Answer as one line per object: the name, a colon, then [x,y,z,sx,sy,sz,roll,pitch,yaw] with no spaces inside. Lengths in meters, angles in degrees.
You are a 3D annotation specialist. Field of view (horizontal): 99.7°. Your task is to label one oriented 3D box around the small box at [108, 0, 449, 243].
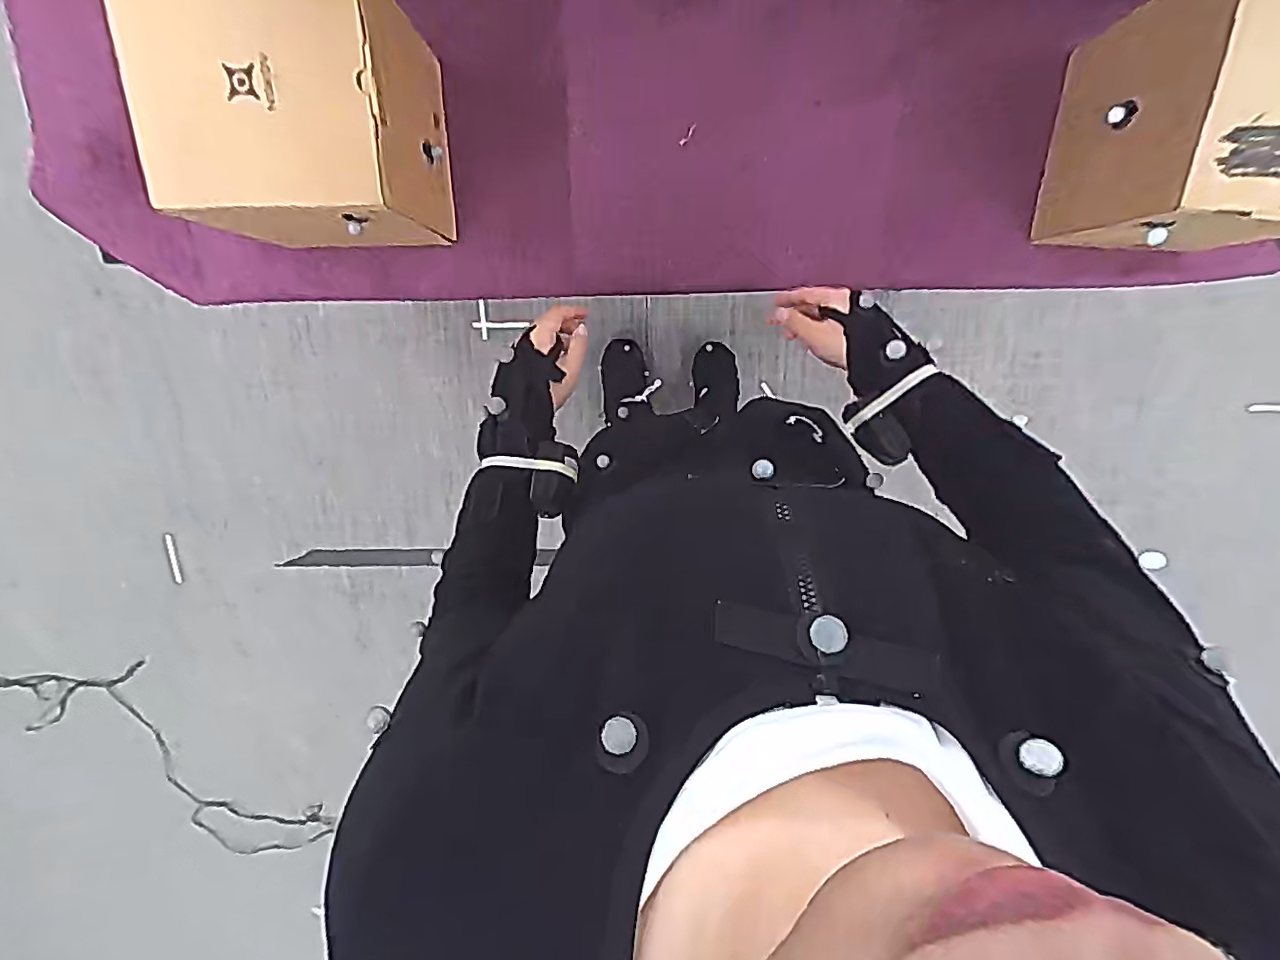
small box: [-0.285,-0.307,0.468,0.179,0.176,0.168,-2,105,-1]
